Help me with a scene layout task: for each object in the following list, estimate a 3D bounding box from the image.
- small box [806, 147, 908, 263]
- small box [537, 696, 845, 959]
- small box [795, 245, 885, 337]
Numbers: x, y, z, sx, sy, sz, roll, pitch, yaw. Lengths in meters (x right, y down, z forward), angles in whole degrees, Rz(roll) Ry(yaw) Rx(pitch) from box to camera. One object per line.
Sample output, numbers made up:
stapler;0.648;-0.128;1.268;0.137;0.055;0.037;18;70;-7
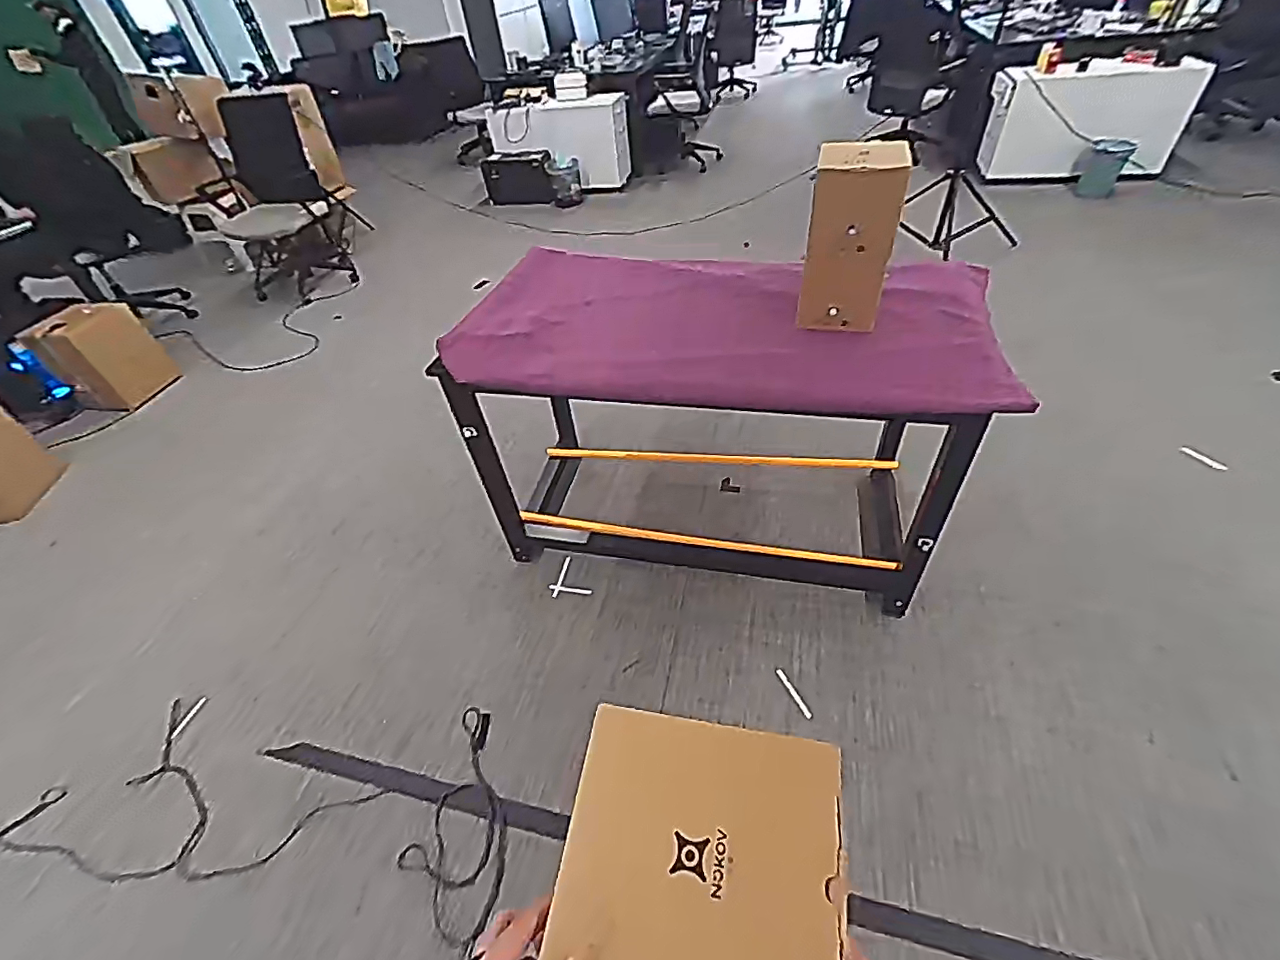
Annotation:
small box;0.436;-0.562;1.105;0.168;0.176;0.179;7;46;16
small box;0.051;0.283;0.402;0.179;0.176;0.168;4;52;14
small box;0.448;-0.445;1.220;0.168;0.176;0.179;8;47;16
